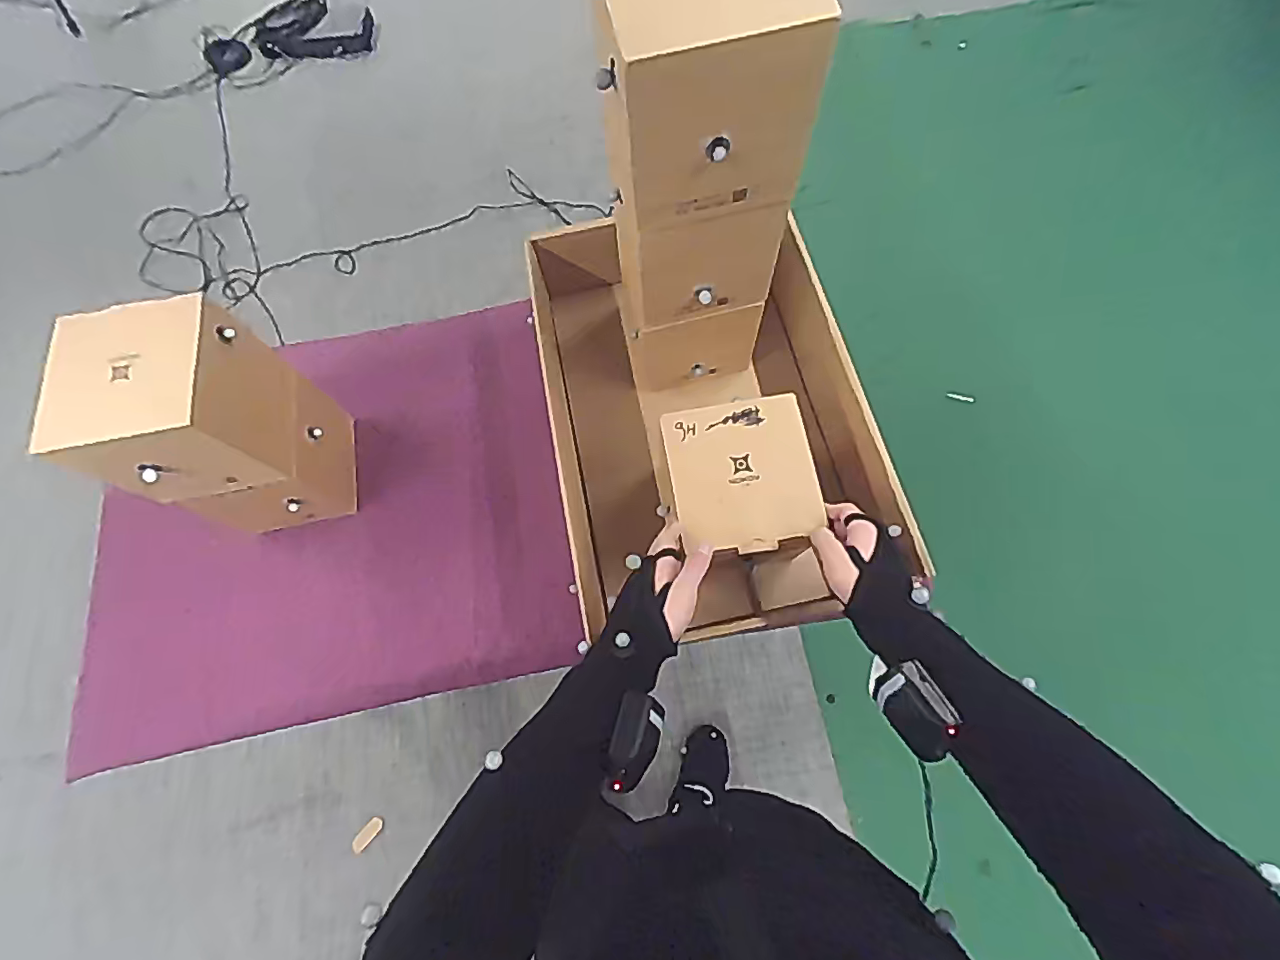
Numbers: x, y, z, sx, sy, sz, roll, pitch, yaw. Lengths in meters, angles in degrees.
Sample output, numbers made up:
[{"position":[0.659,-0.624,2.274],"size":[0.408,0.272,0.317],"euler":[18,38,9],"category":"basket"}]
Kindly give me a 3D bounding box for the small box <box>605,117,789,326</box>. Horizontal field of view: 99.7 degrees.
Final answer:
[{"position":[0.059,-0.317,0.651],"size":[0.168,0.176,0.179],"euler":[-13,72,-1],"category":"small box"}]

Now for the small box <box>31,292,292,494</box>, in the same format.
[{"position":[-0.556,-0.092,0.658],"size":[0.168,0.176,0.179],"euler":[-11,69,-2],"category":"small box"}]

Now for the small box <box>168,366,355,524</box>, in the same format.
[{"position":[-0.550,-0.041,0.811],"size":[0.168,0.176,0.179],"euler":[-11,70,-3],"category":"small box"}]

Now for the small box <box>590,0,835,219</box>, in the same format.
[{"position":[0.053,-0.367,0.494],"size":[0.168,0.176,0.179],"euler":[-12,71,-1],"category":"small box"}]
